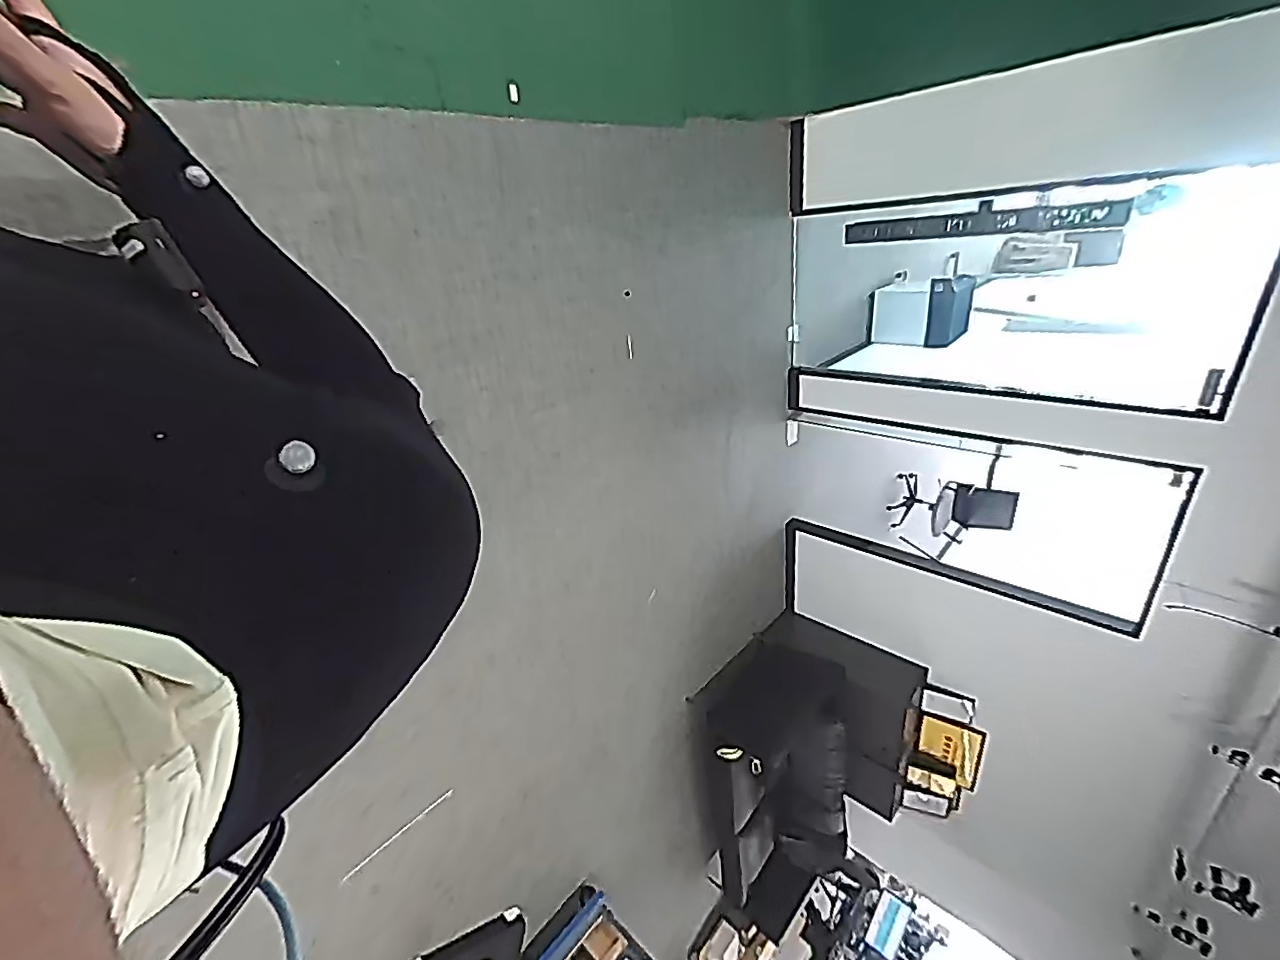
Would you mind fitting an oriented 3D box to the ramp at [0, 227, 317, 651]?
[{"bbox_3d":[-1.184,-0.050,1.312,0.509,0.206,0.991,-32,126,-38],"label":"ramp"}]
